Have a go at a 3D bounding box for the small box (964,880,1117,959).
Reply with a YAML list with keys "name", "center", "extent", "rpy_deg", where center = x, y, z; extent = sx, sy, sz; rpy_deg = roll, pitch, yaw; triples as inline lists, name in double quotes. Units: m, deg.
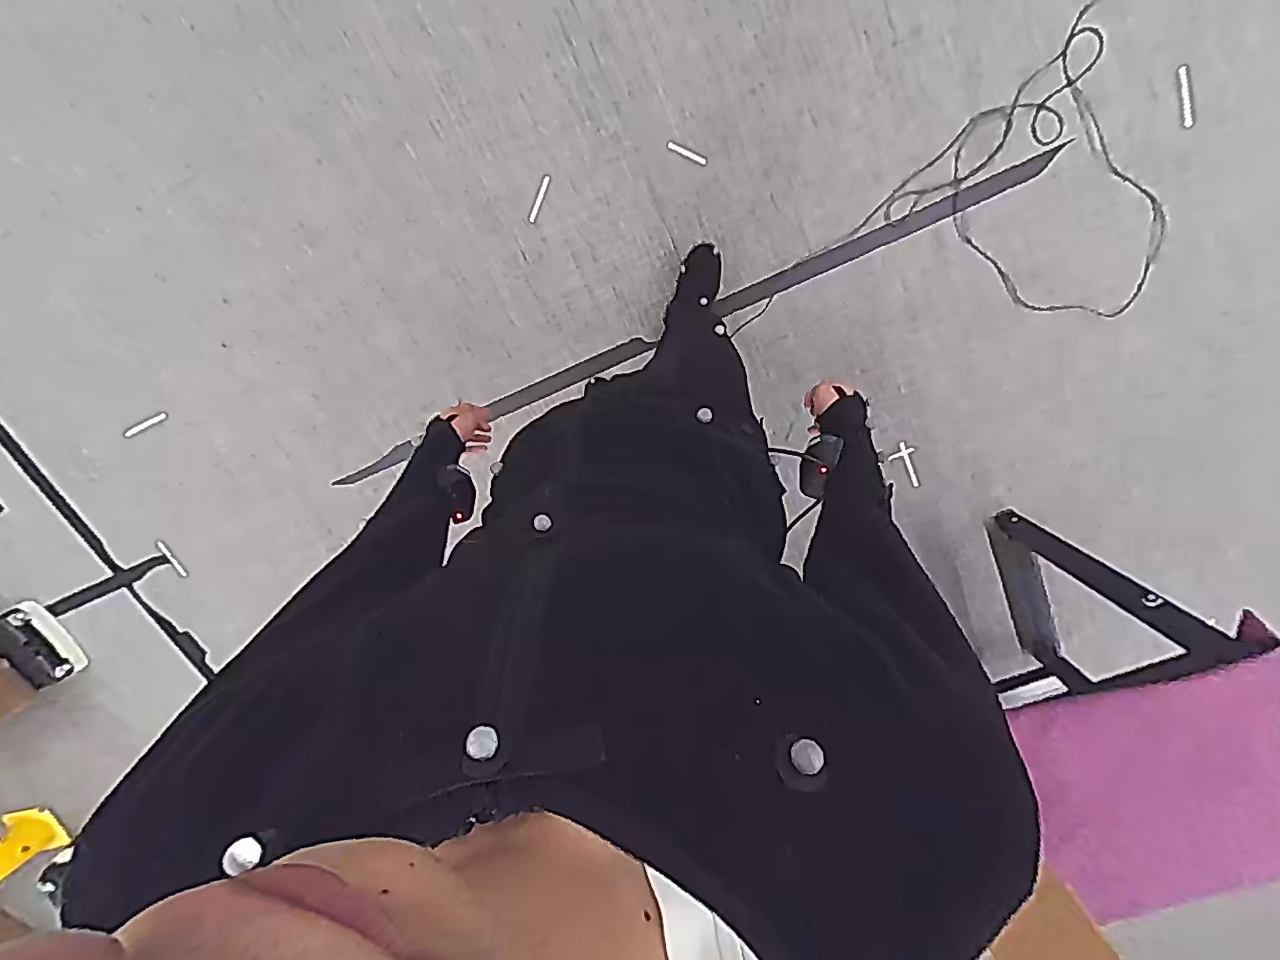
- name: "small box"
  center: [0.683, 0.812, 0.895]
  extent: [0.179, 0.176, 0.168]
  rpy_deg: [-25, 107, 9]
